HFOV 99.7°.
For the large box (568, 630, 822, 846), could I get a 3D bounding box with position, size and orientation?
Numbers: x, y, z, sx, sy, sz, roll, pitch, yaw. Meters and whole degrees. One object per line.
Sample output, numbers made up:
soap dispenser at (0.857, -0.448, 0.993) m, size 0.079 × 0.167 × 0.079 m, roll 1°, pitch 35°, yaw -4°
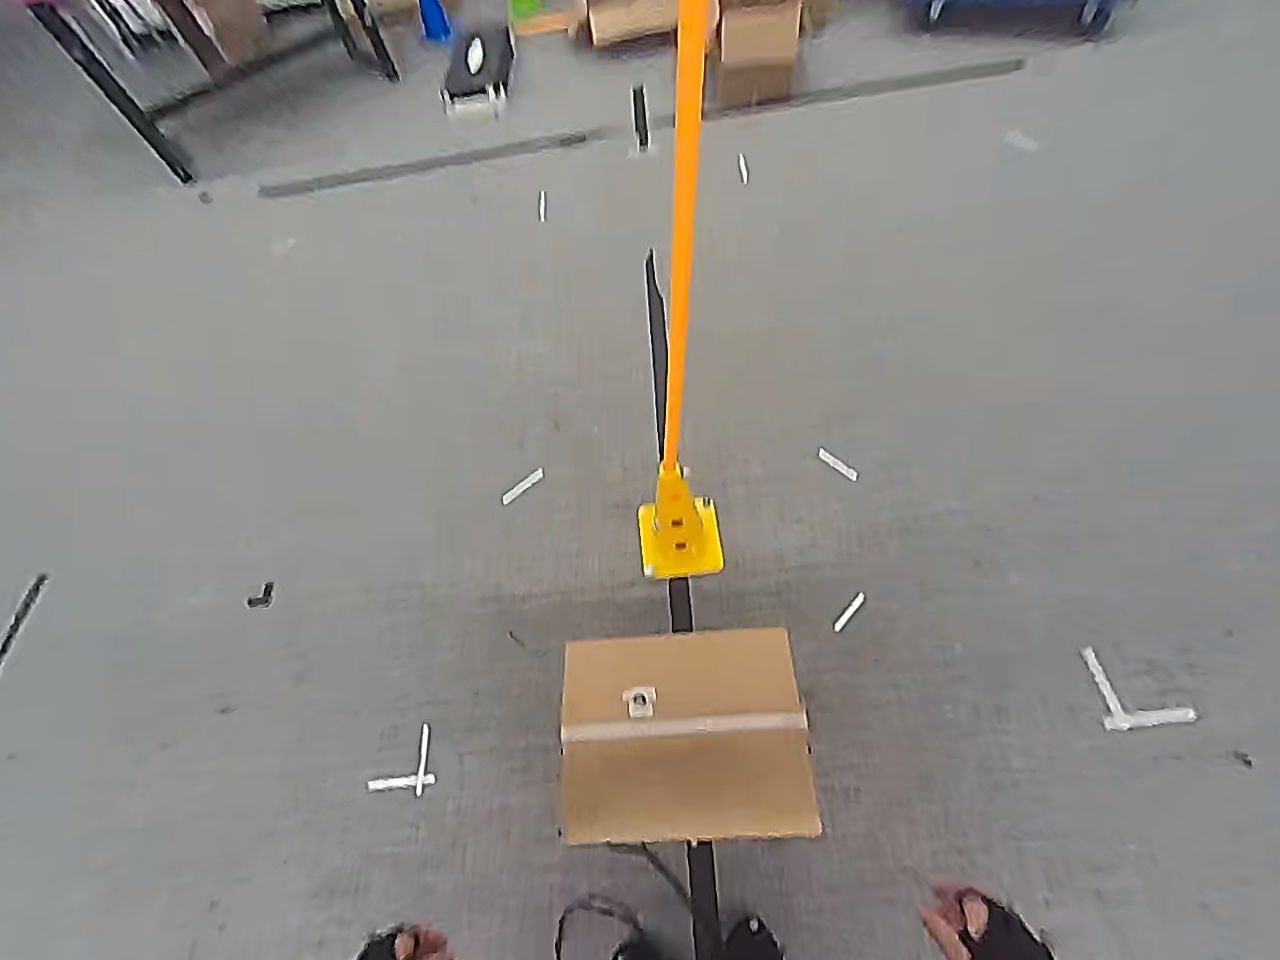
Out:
large box at (0.096, 0.499, 1.040) m, size 0.408 × 0.320 × 0.320 m, roll -6°, pitch 57°, yaw 6°
